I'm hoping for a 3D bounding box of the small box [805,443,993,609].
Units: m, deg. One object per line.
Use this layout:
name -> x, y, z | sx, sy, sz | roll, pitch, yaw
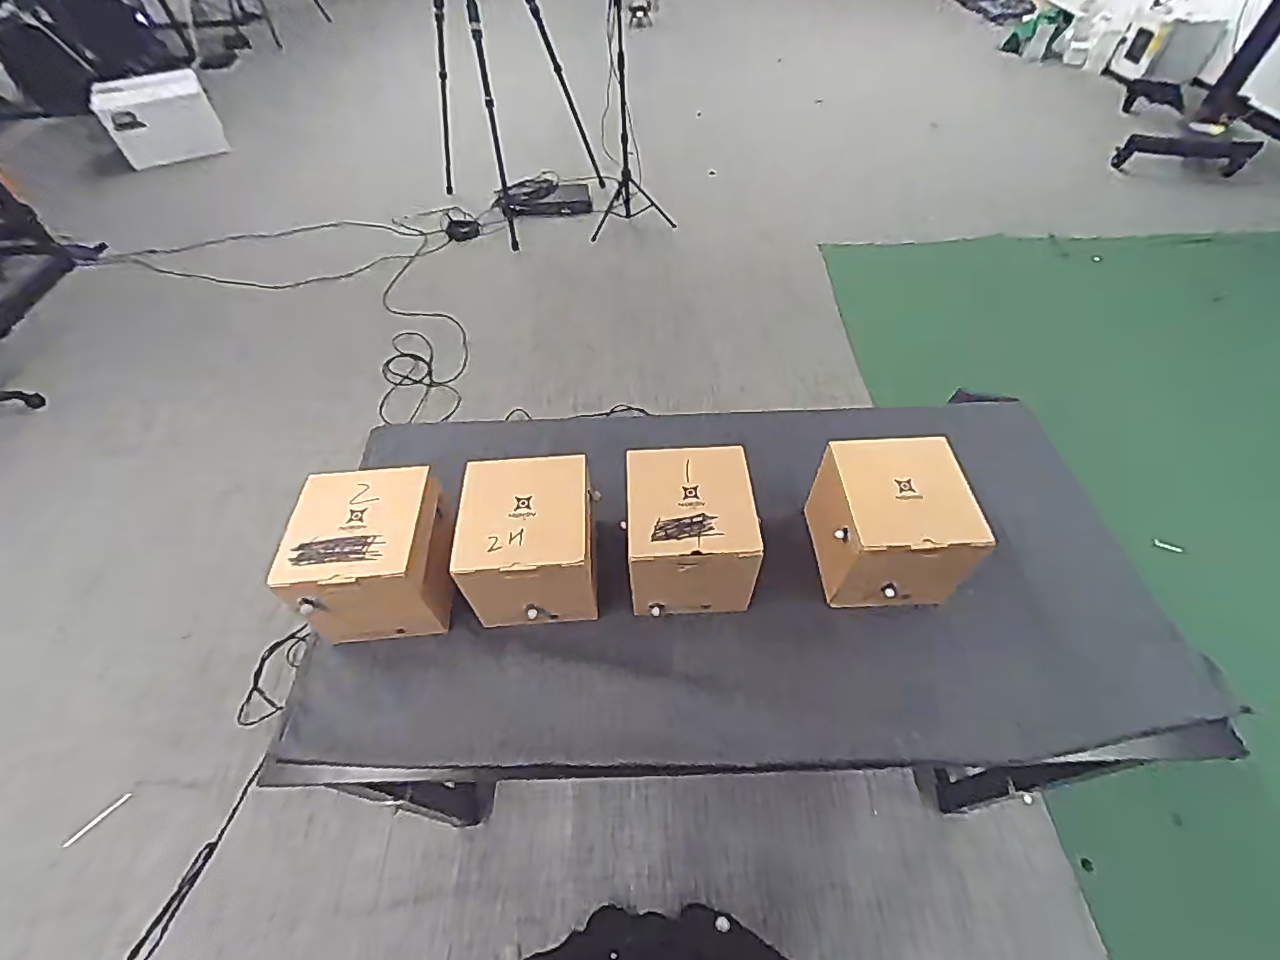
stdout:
small box -> 0.347, 0.067, 0.770 | 0.168, 0.176, 0.179 | -2, 53, 0
